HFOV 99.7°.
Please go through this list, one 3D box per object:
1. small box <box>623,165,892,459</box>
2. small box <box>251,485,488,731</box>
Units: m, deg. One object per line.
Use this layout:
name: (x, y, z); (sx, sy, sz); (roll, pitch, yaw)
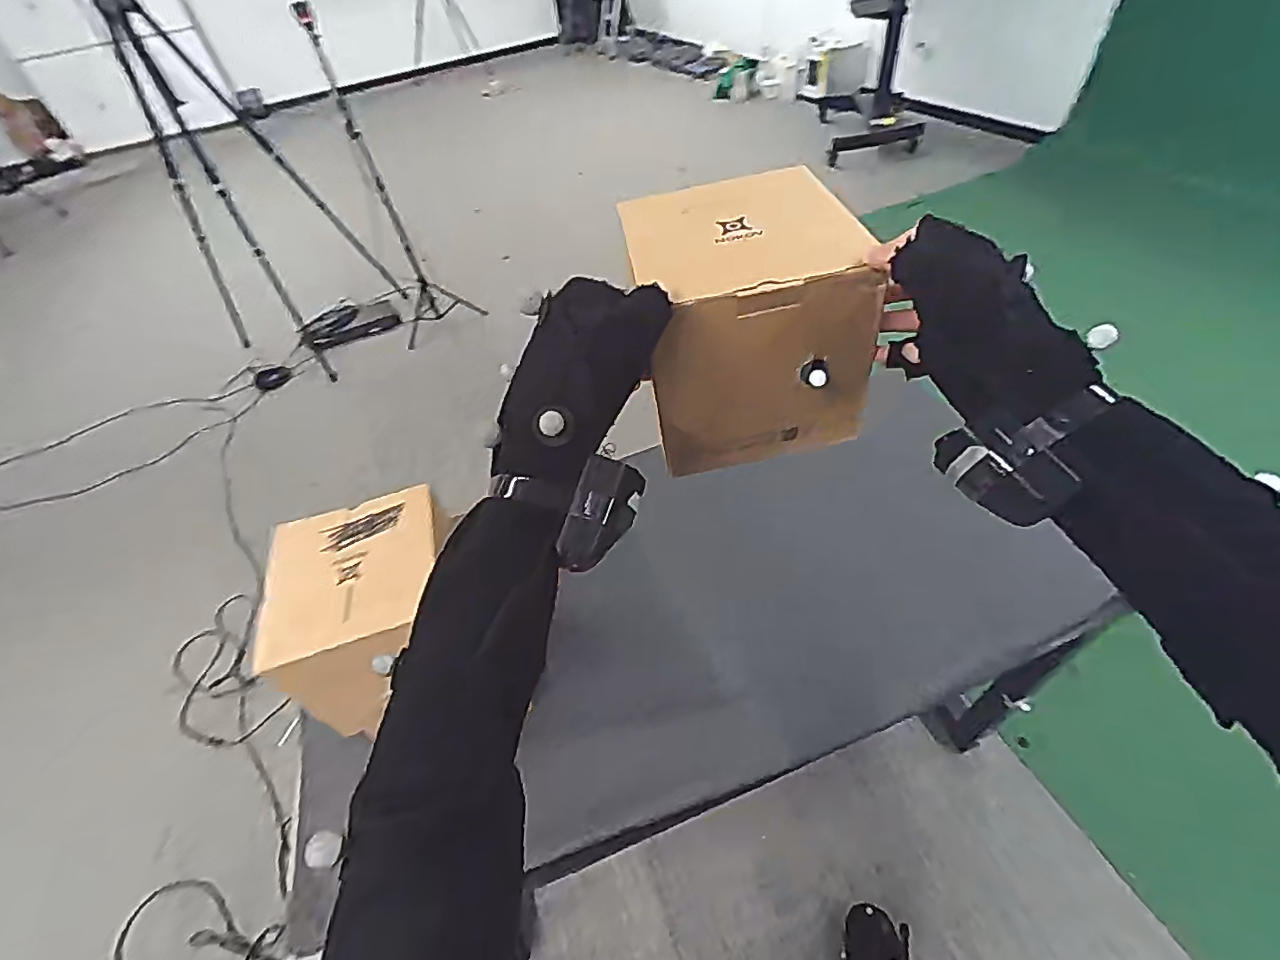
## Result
small box: (0.086, -0.134, 0.462); (0.168, 0.176, 0.179); (-11, 48, 1)
small box: (-0.279, 0.140, 0.593); (0.168, 0.176, 0.179); (-18, 49, -9)
